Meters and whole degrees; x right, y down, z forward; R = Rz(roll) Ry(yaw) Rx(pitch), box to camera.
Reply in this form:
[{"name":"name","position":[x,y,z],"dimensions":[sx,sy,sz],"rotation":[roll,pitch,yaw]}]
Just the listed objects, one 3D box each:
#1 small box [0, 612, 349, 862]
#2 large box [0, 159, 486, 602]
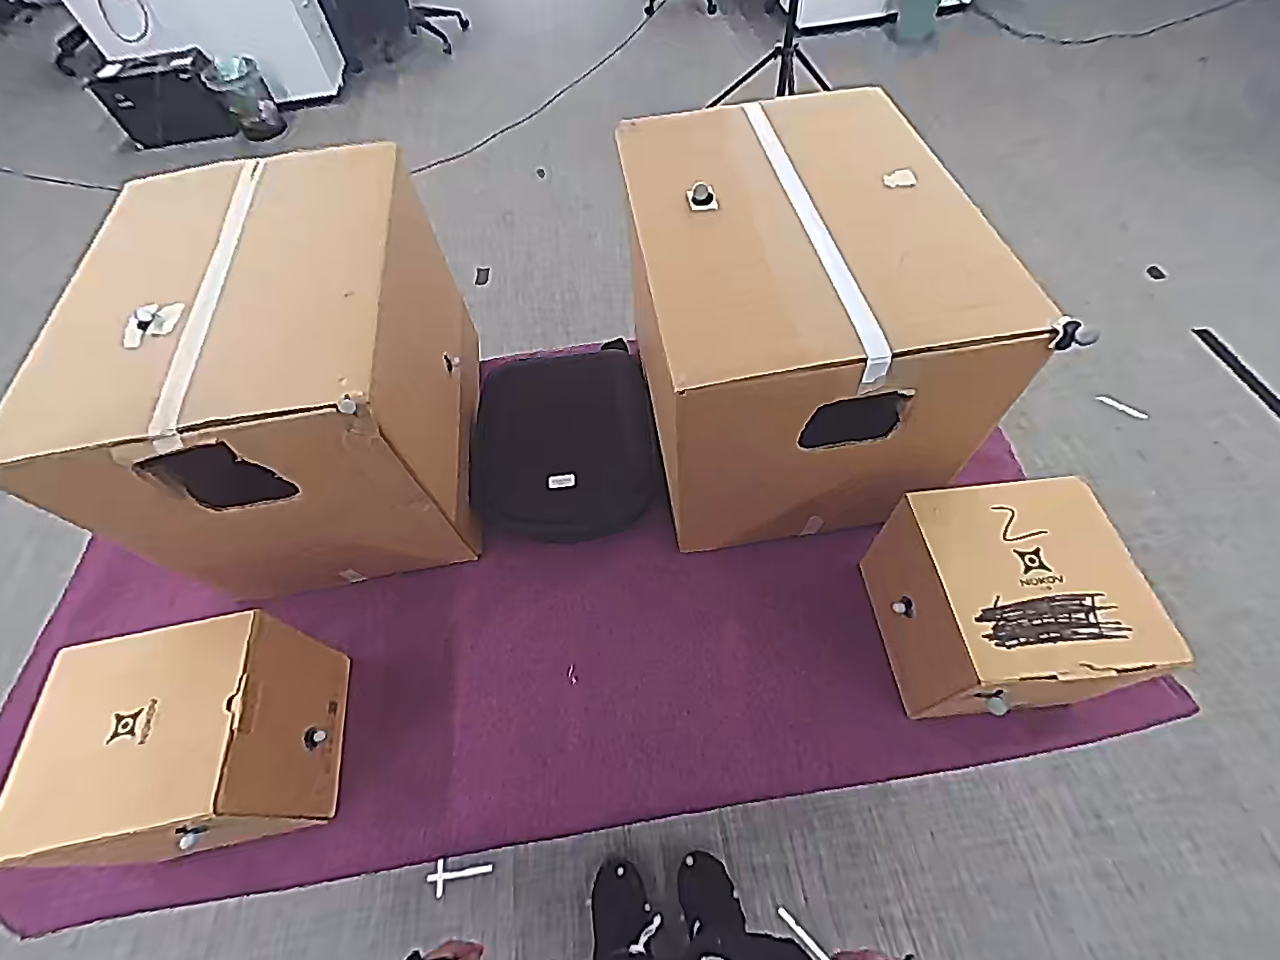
[{"name":"small box","position":[-0.413,0.248,0.515],"dimensions":[0.179,0.176,0.168],"rotation":[-12,57,-4]},{"name":"large box","position":[-0.390,-0.112,0.661],"dimensions":[0.320,0.320,0.408],"rotation":[-11,60,-2]}]
